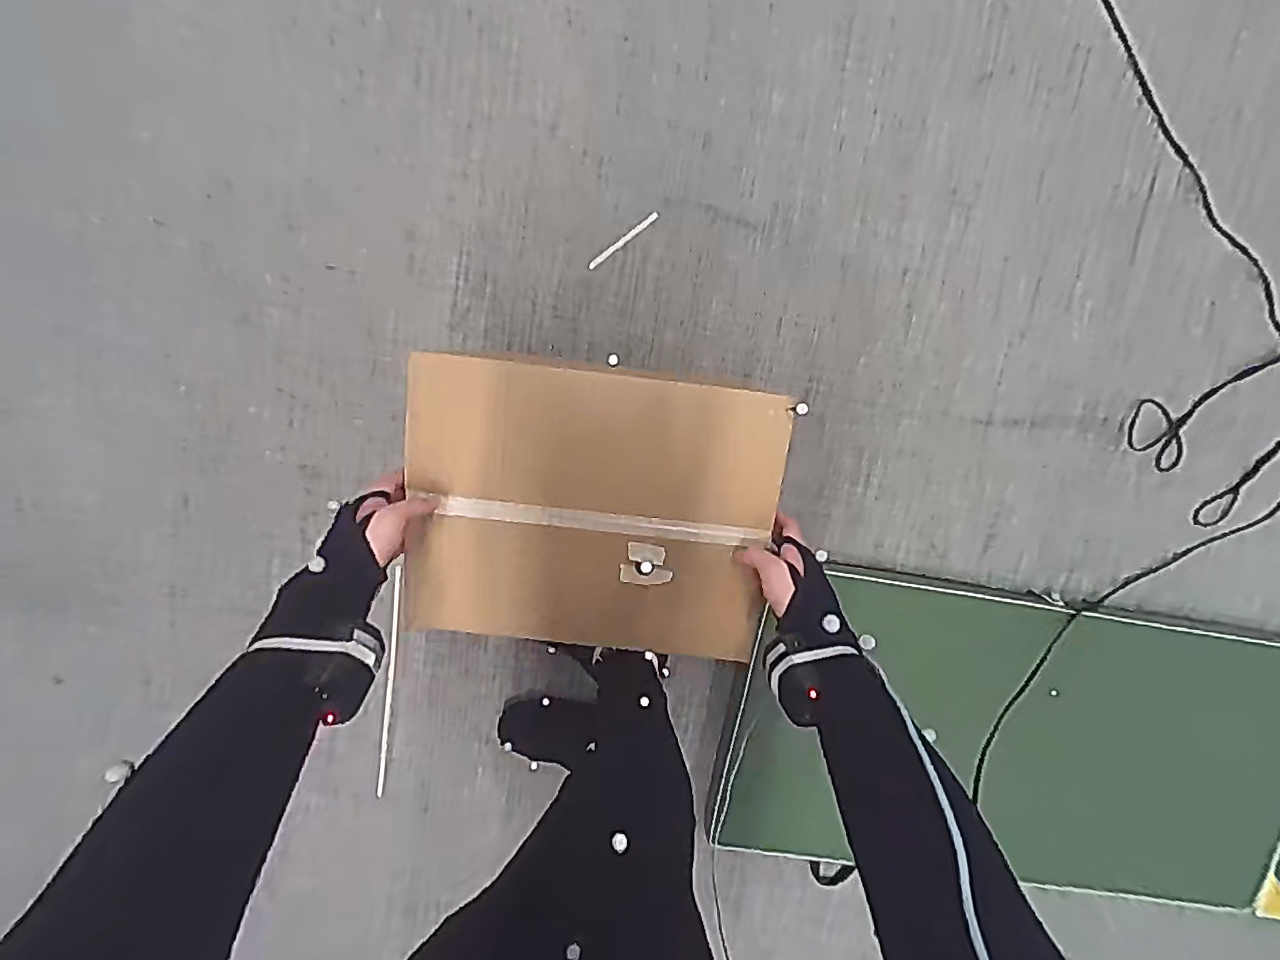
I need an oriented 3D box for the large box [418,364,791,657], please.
[{"bbox_3d":[-0.052,0.016,0.755,0.408,0.320,0.320,7,102,-2],"label":"large box"}]
